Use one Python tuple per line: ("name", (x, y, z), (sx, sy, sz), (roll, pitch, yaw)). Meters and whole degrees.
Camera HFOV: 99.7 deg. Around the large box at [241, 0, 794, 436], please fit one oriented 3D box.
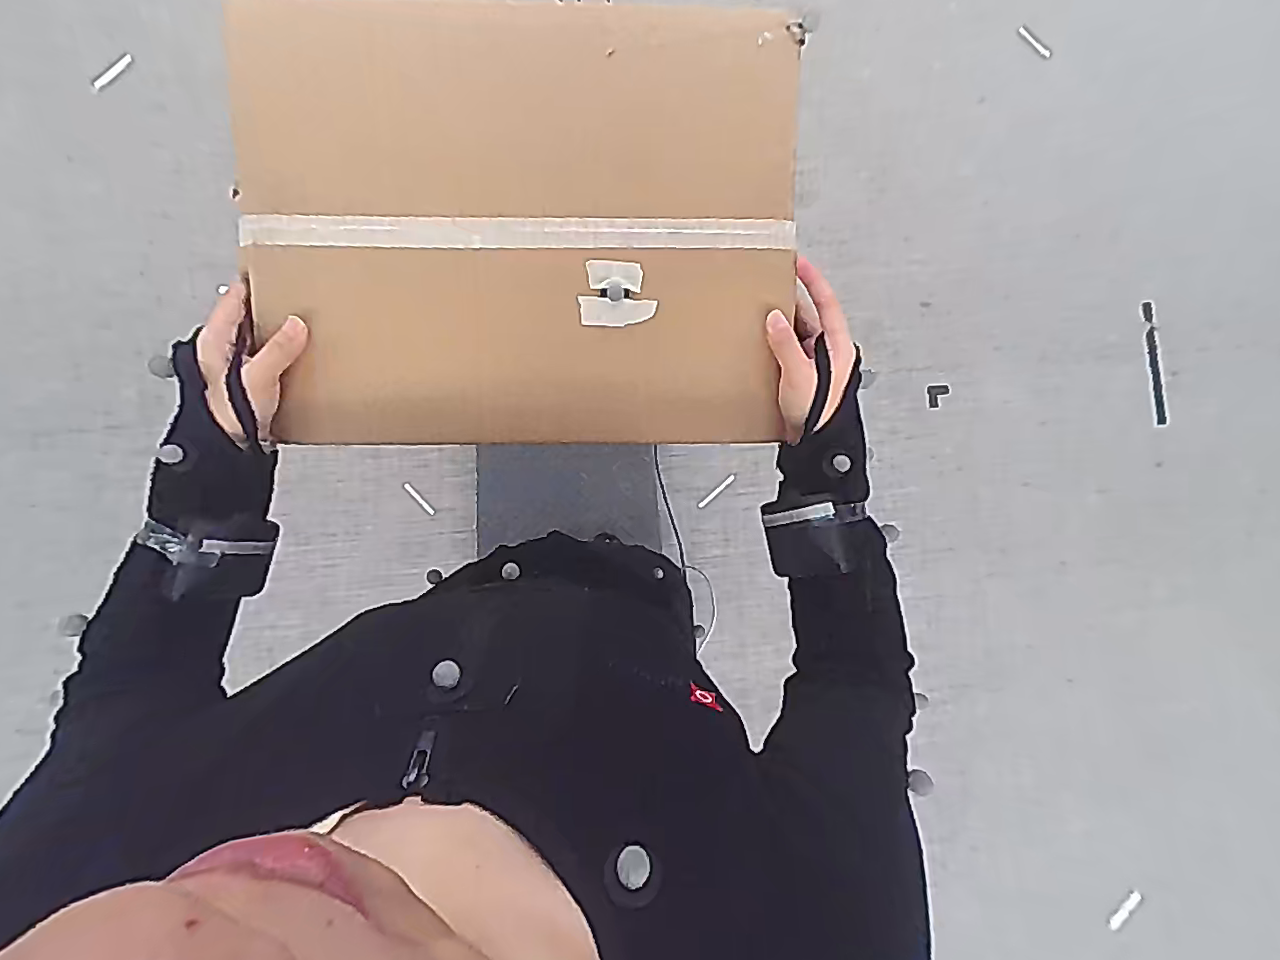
("large box", (-0.092, -0.211, 0.555), (0.408, 0.320, 0.320), (0, 98, -3))
